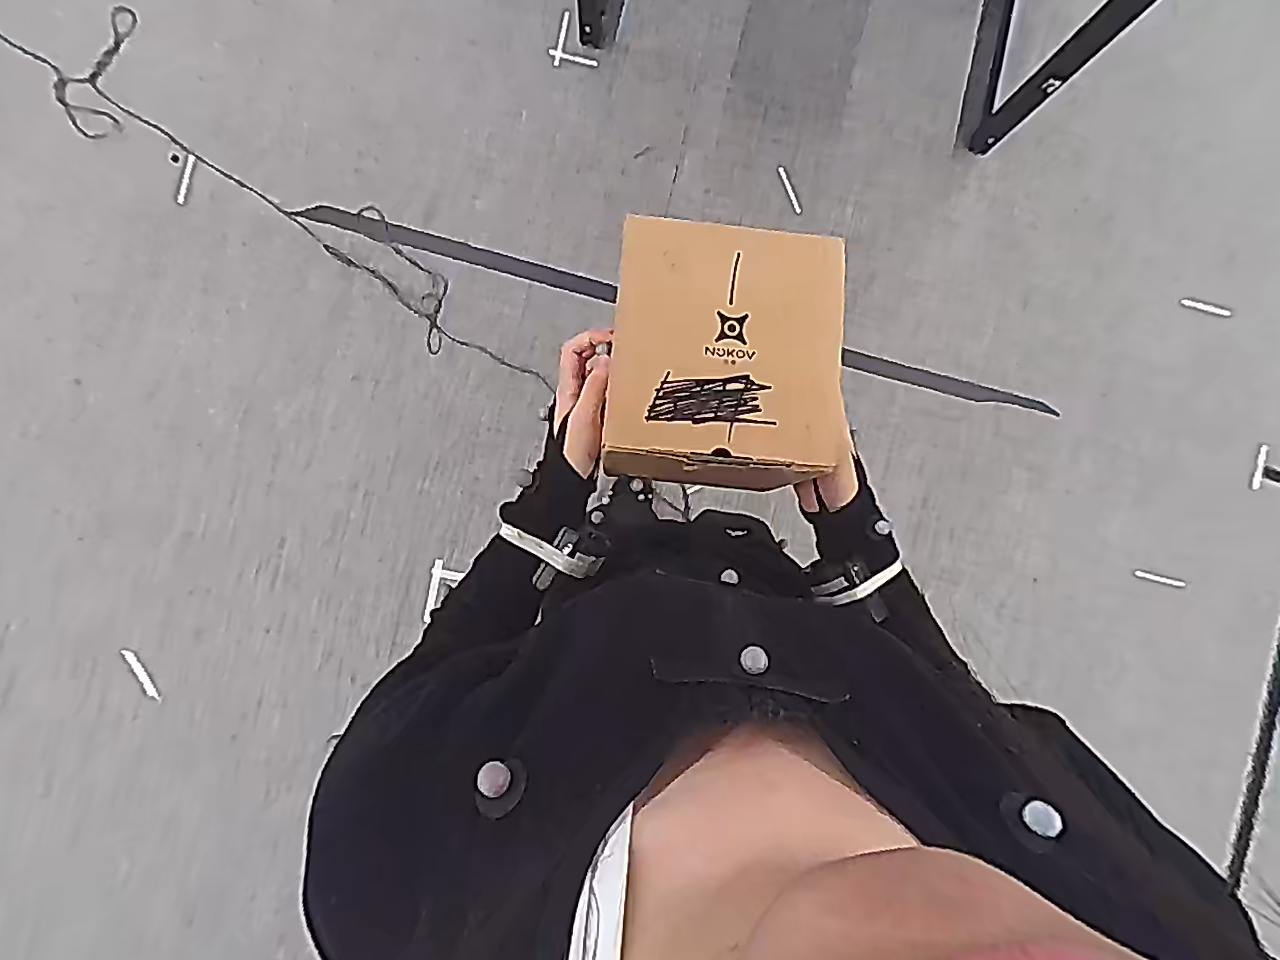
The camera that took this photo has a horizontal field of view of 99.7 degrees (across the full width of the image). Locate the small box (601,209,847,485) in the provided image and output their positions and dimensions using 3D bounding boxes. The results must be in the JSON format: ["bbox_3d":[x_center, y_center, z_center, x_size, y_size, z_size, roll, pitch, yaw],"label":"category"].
[{"bbox_3d":[0.058,-0.093,0.463,0.168,0.176,0.179,6,83,-3],"label":"small box"}]
